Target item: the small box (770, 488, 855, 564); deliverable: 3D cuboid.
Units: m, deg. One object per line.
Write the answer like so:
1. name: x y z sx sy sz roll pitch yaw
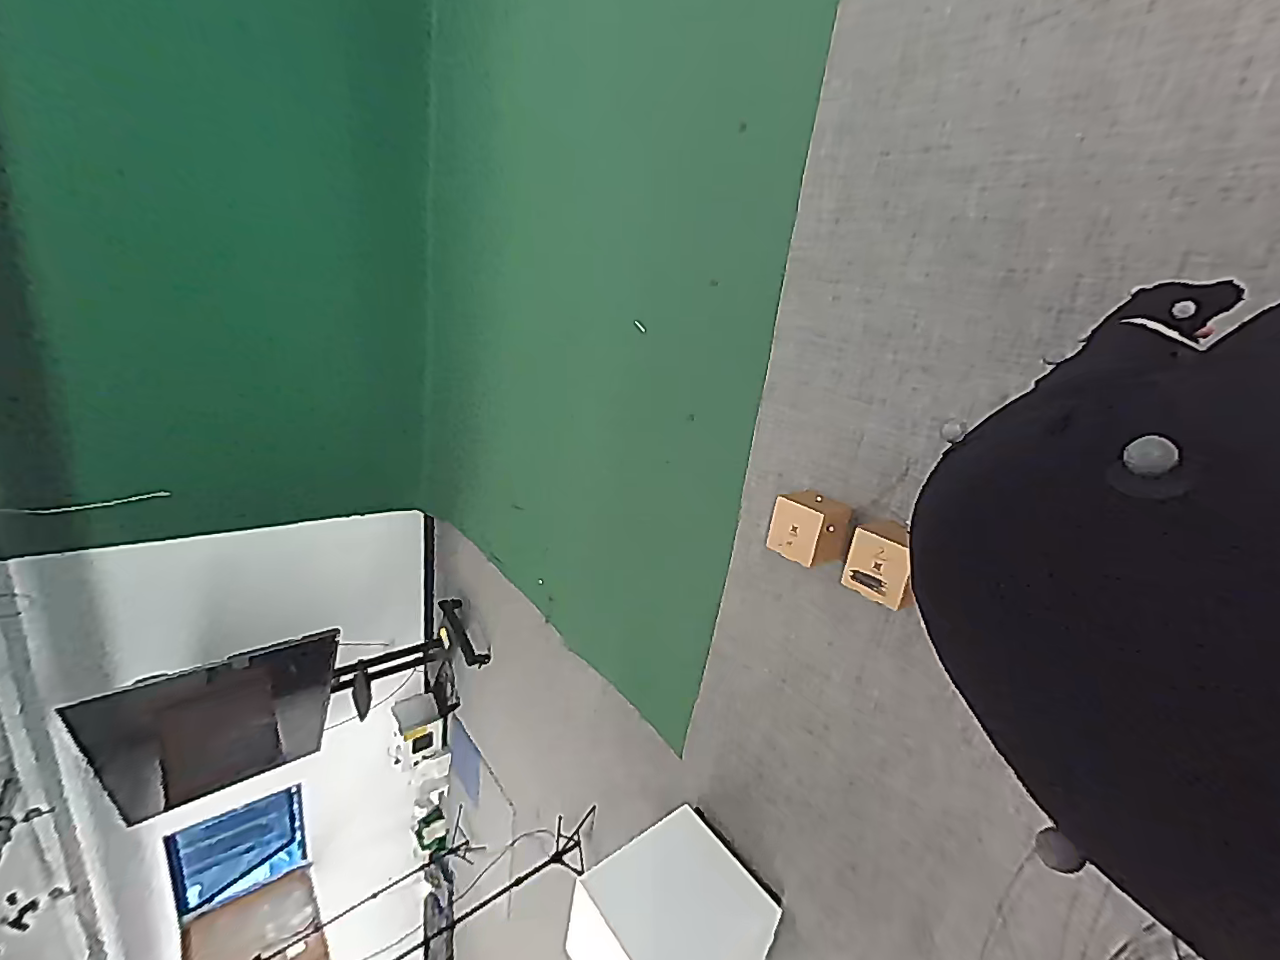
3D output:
1. small box: 0.530 0.133 1.654 0.168 0.176 0.179 28 116 46
